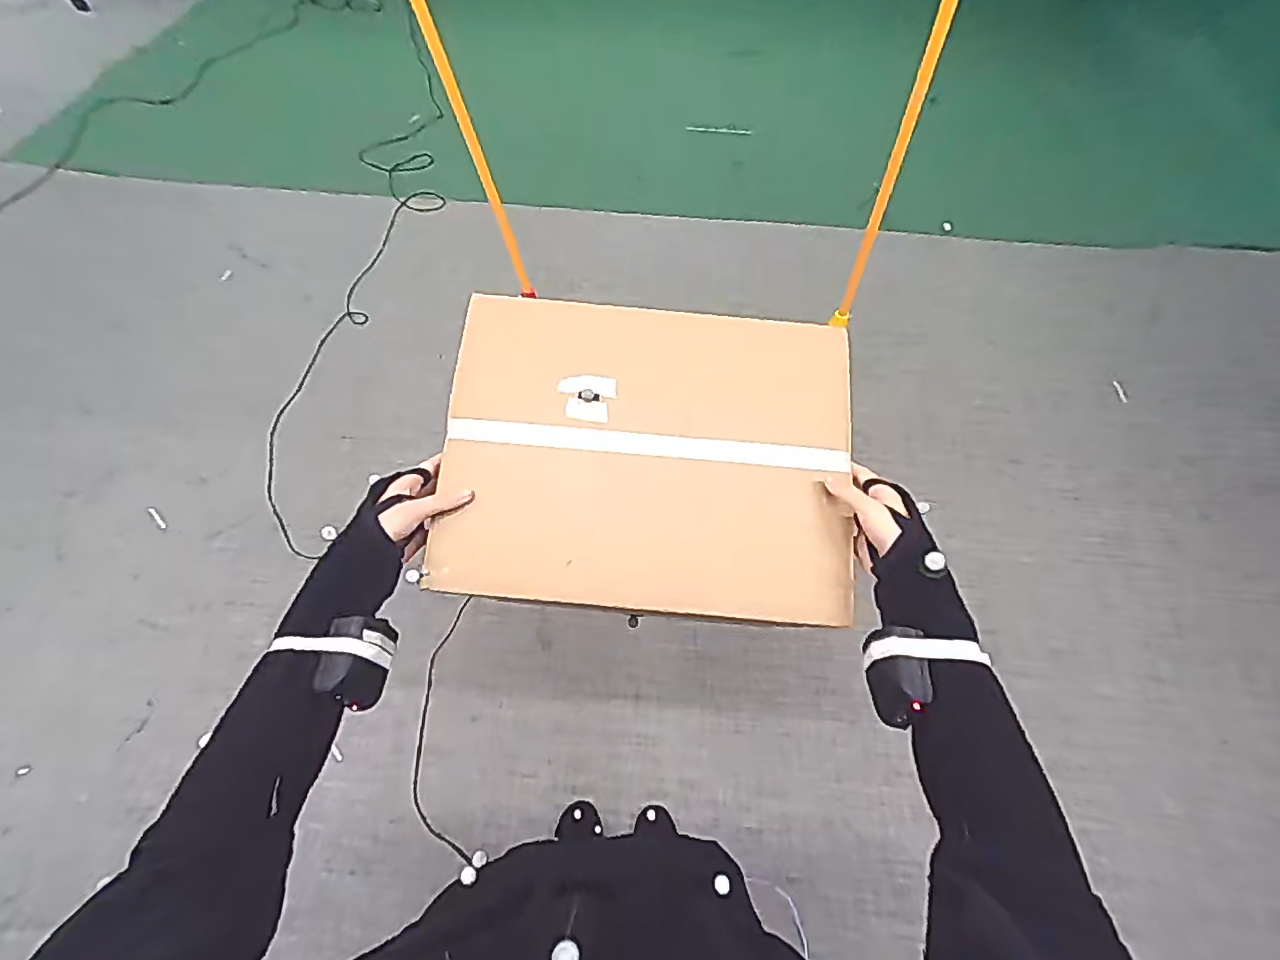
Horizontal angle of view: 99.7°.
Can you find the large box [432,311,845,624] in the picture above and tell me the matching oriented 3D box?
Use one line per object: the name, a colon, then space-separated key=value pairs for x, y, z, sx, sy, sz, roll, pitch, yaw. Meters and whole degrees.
large box: x=0.008 y=0.010 z=0.695 sx=0.408 sy=0.320 sz=0.320 roll=5 pitch=75 yaw=1
